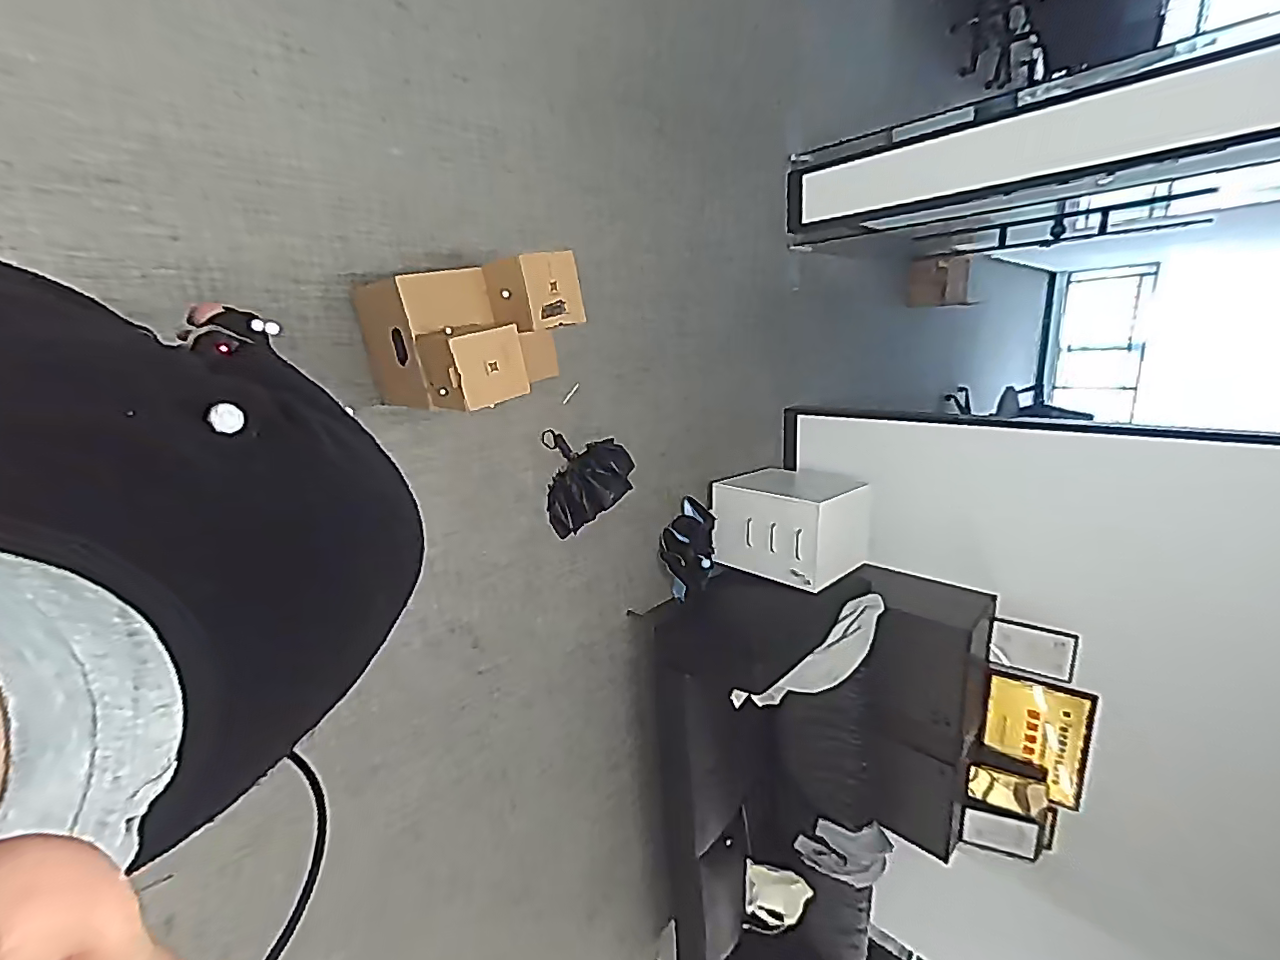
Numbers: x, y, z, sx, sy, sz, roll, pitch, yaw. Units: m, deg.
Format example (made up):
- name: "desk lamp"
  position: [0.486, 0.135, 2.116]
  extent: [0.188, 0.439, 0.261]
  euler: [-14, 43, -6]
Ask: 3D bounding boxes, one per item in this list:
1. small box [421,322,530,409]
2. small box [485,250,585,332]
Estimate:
- name: "small box"
  position: [-0.394, -0.274, 1.280]
  extent: [0.179, 0.176, 0.168]
  euler: [-30, 122, -39]
- name: "small box"
  position: [-0.267, -0.473, 1.368]
  extent: [0.168, 0.176, 0.179]
  euler: [-24, 112, -40]
